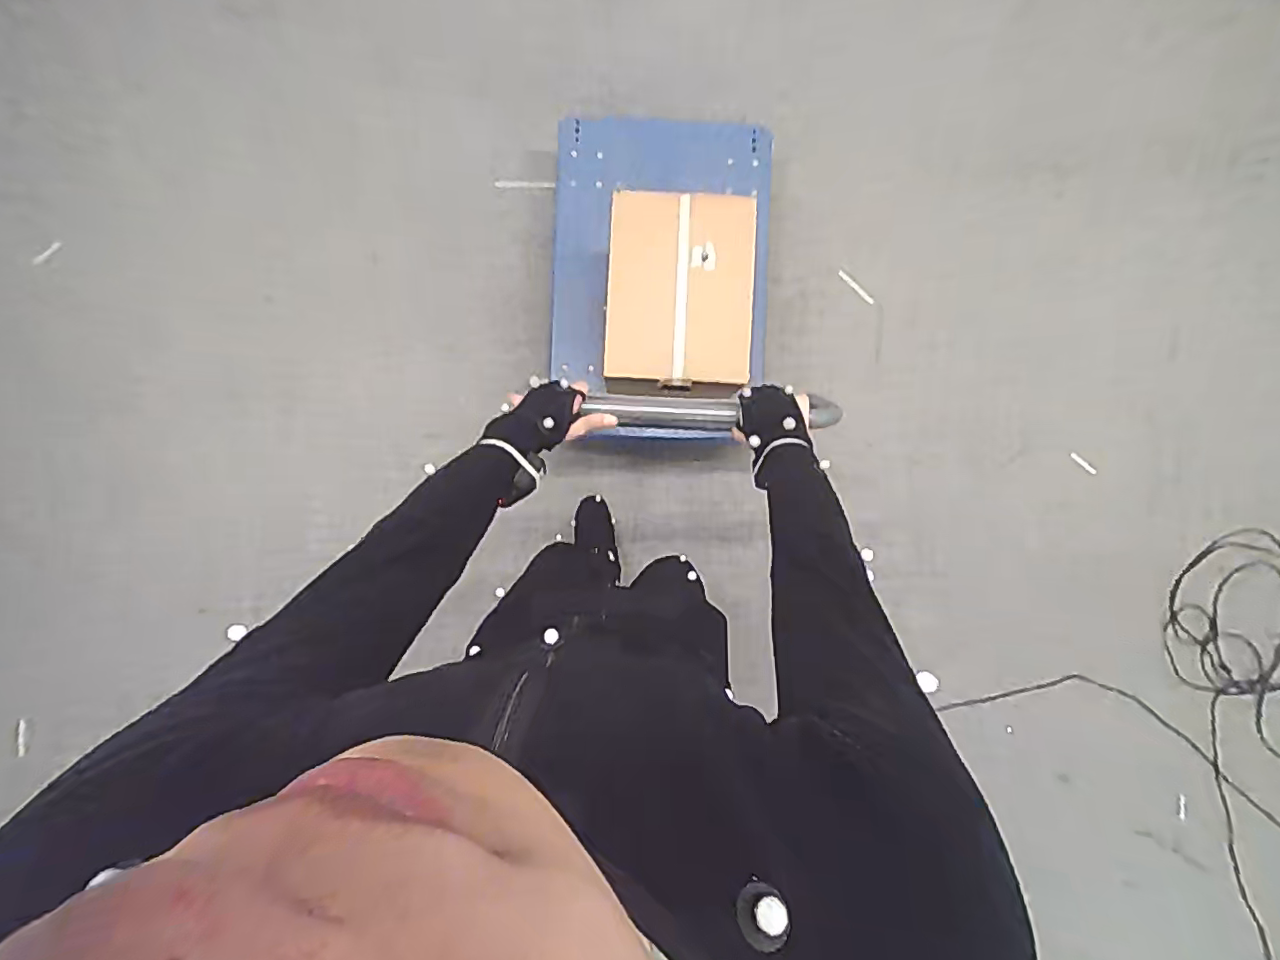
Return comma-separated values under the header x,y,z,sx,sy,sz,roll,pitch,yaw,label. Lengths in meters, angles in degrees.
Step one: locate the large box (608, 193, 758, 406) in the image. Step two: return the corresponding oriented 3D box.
x,y,z,sx,sy,sz,roll,pitch,yaw,label
0.090,-0.401,1.292,0.320,0.320,0.408,3,88,-2,large box
